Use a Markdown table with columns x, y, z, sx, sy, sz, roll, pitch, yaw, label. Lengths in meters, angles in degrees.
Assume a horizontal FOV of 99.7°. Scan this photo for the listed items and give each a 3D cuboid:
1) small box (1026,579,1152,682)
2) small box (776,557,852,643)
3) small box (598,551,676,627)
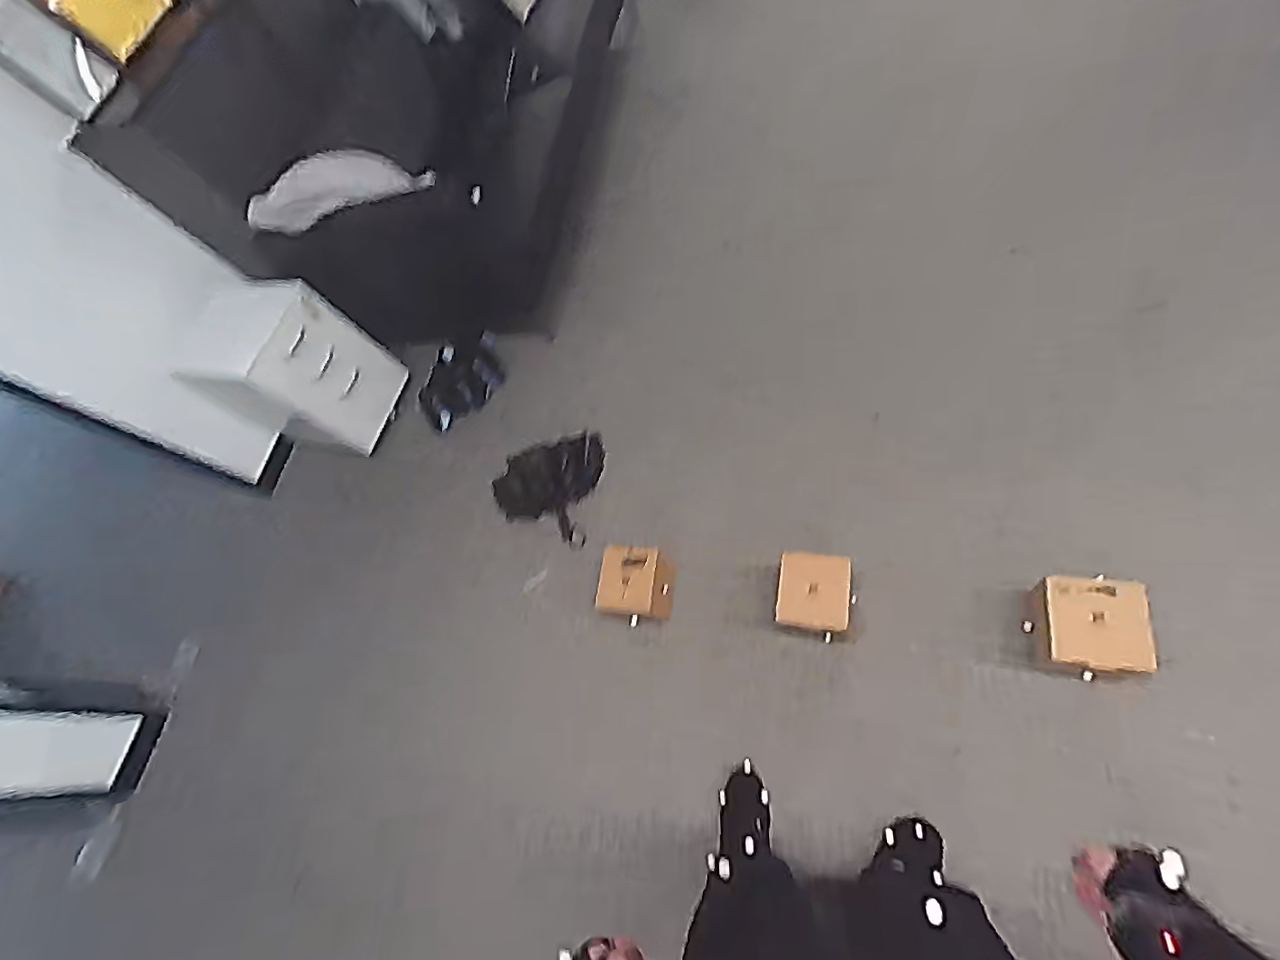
| x | y | z | sx | sy | sz | roll | pitch | yaw | label |
| --- | --- | --- | --- | --- | --- | --- | --- | --- | --- |
| 0.949 | 0.326 | 1.159 | 0.168 | 0.176 | 0.179 | 2 | 67 | 24 | small box |
| 0.449 | 0.310 | 1.379 | 0.168 | 0.176 | 0.179 | 1 | 65 | 22 | small box |
| -0.002 | 0.316 | 1.560 | 0.168 | 0.176 | 0.179 | -1 | 66 | 23 | small box |
